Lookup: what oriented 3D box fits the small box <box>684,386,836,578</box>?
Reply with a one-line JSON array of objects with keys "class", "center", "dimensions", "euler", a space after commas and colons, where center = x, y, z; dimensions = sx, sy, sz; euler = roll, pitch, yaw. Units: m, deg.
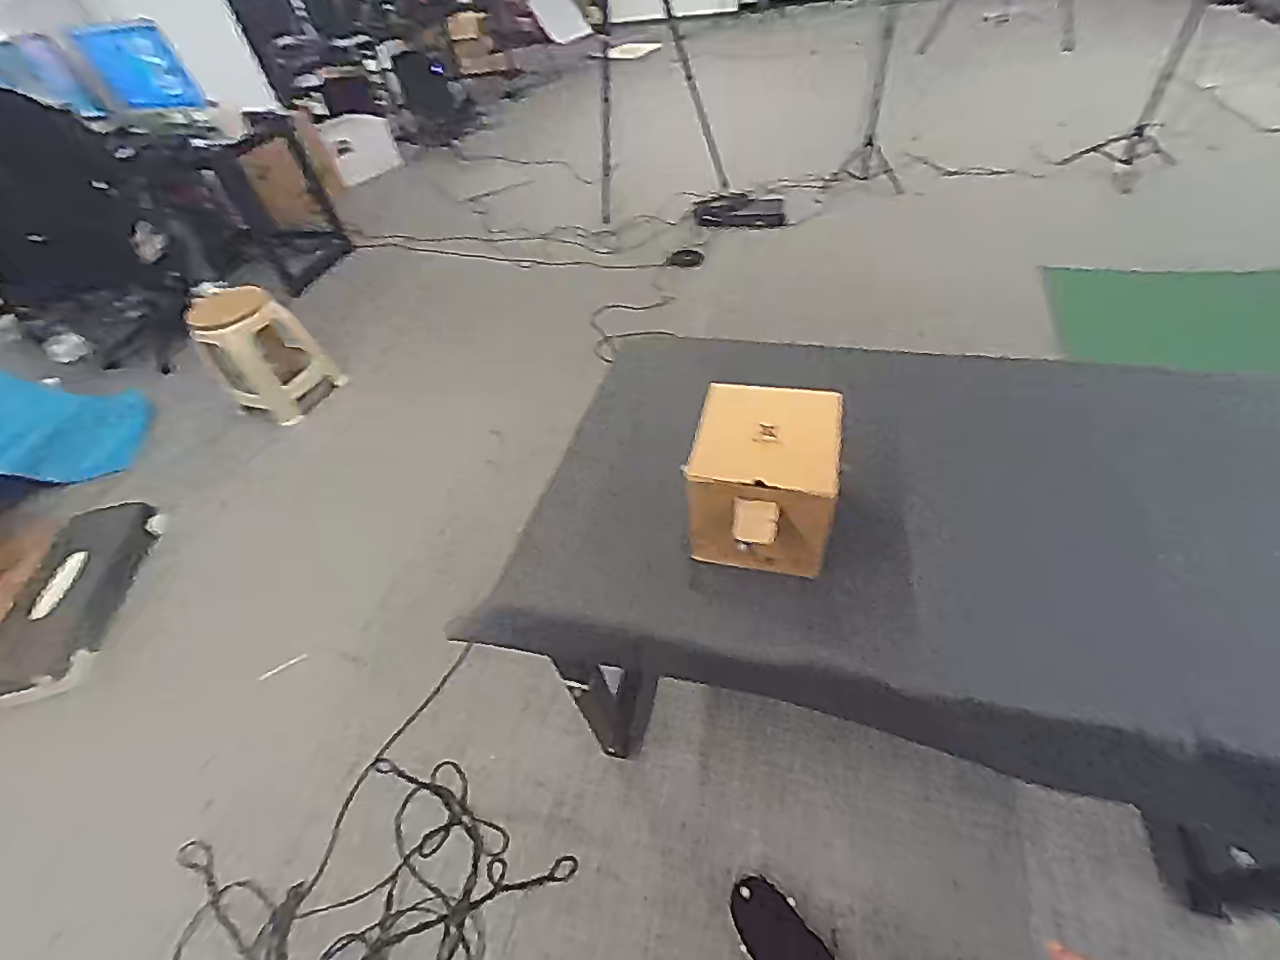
[{"class": "small box", "center": [0.155, 0.001, 0.709], "dimensions": [0.168, 0.176, 0.179], "euler": [7, 50, 14]}]
